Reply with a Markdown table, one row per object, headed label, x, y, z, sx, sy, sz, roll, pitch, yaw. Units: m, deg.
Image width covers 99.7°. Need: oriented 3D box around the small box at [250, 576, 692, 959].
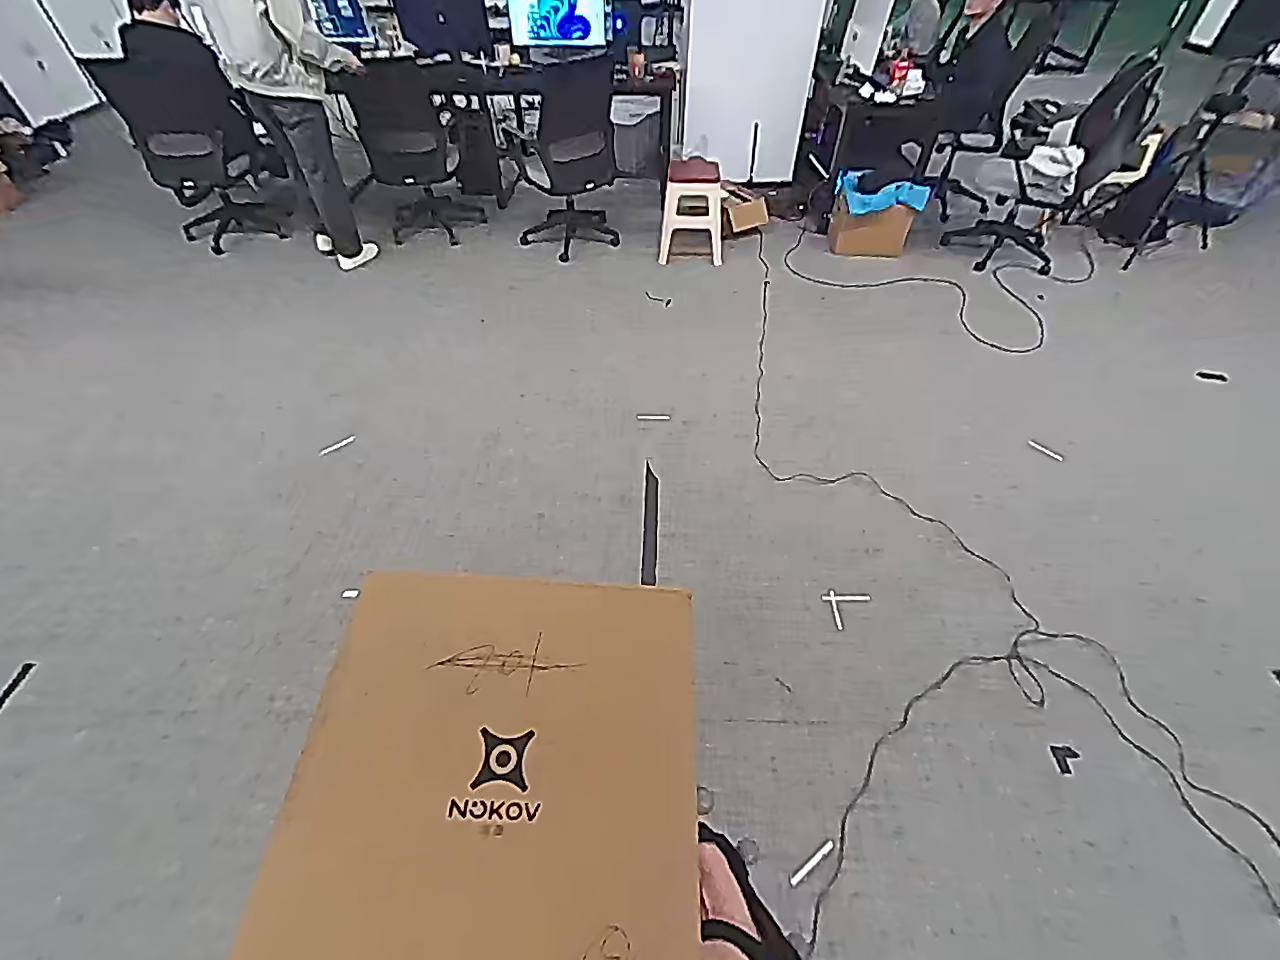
| label | x | y | z | sx | sy | sz | roll | pitch | yaw |
| --- | --- | --- | --- | --- | --- | --- | --- | --- | --- |
| small box | -0.065 | 0.173 | 0.302 | 0.168 | 0.176 | 0.179 | 5 | 54 | -4 |
